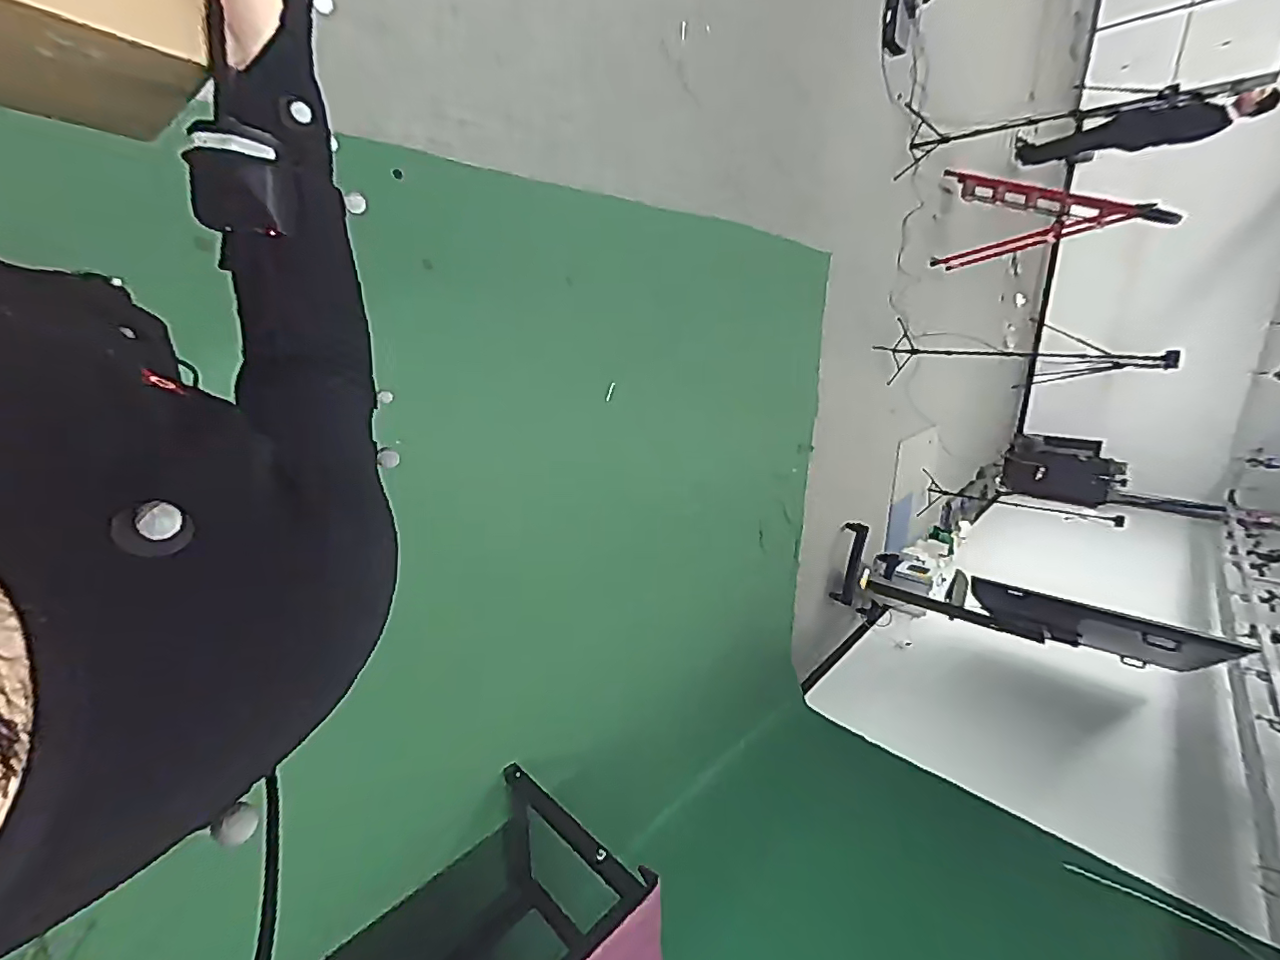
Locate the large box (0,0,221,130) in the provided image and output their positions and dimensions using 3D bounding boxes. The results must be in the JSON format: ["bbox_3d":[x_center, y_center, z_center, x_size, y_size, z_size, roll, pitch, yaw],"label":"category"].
[{"bbox_3d":[-0.516,-0.438,0.278,0.408,0.320,0.320,-11,113,-48],"label":"large box"}]
